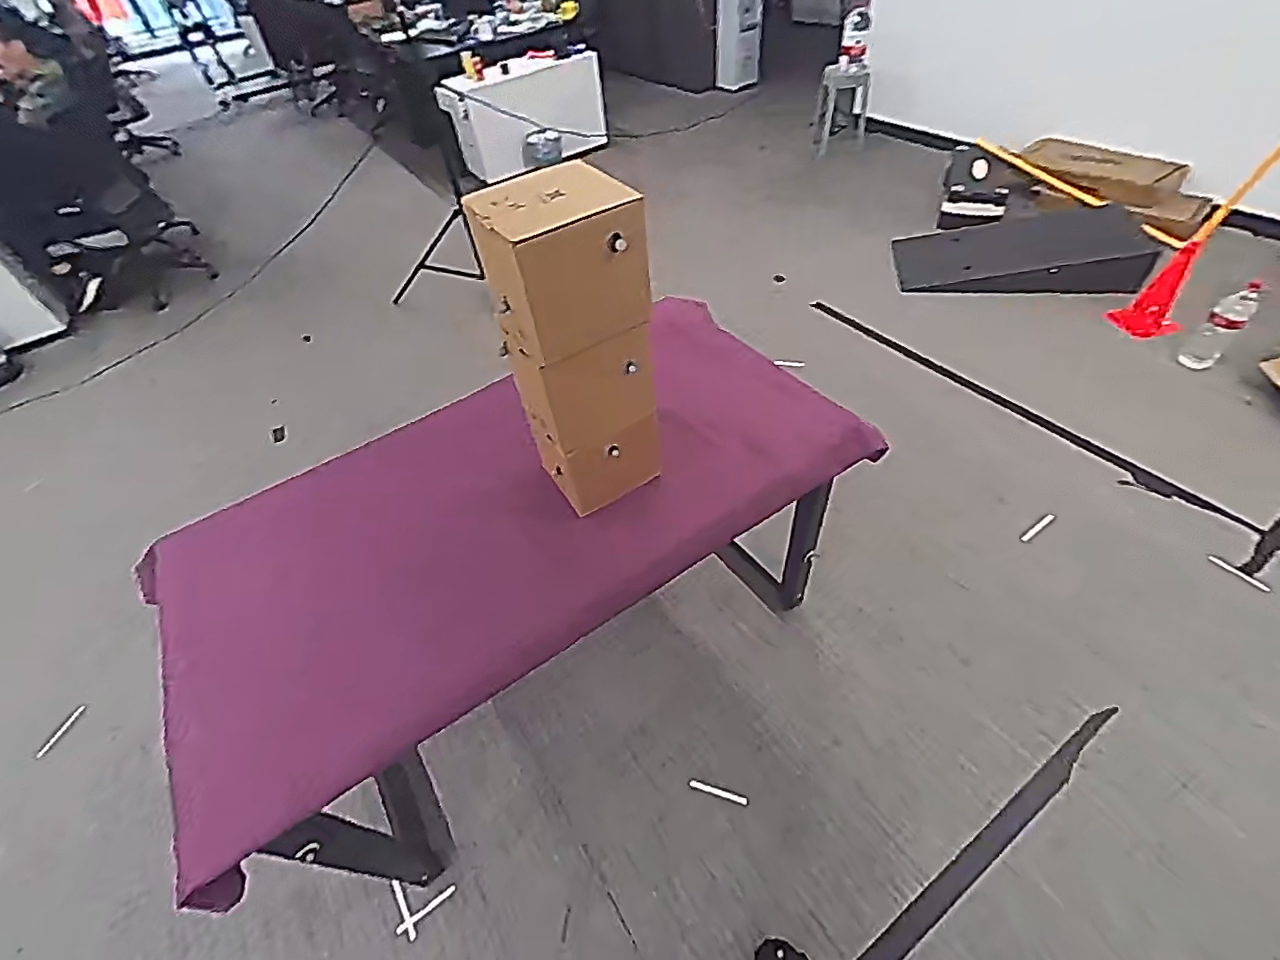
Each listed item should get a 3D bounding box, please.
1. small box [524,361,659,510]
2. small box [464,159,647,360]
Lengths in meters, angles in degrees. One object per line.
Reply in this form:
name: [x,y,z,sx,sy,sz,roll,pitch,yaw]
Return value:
small box: [-0.079,-0.076,0.967,0.179,0.176,0.168,-28,53,-17]
small box: [-0.101,-0.292,0.719,0.179,0.176,0.168,-29,52,-17]
